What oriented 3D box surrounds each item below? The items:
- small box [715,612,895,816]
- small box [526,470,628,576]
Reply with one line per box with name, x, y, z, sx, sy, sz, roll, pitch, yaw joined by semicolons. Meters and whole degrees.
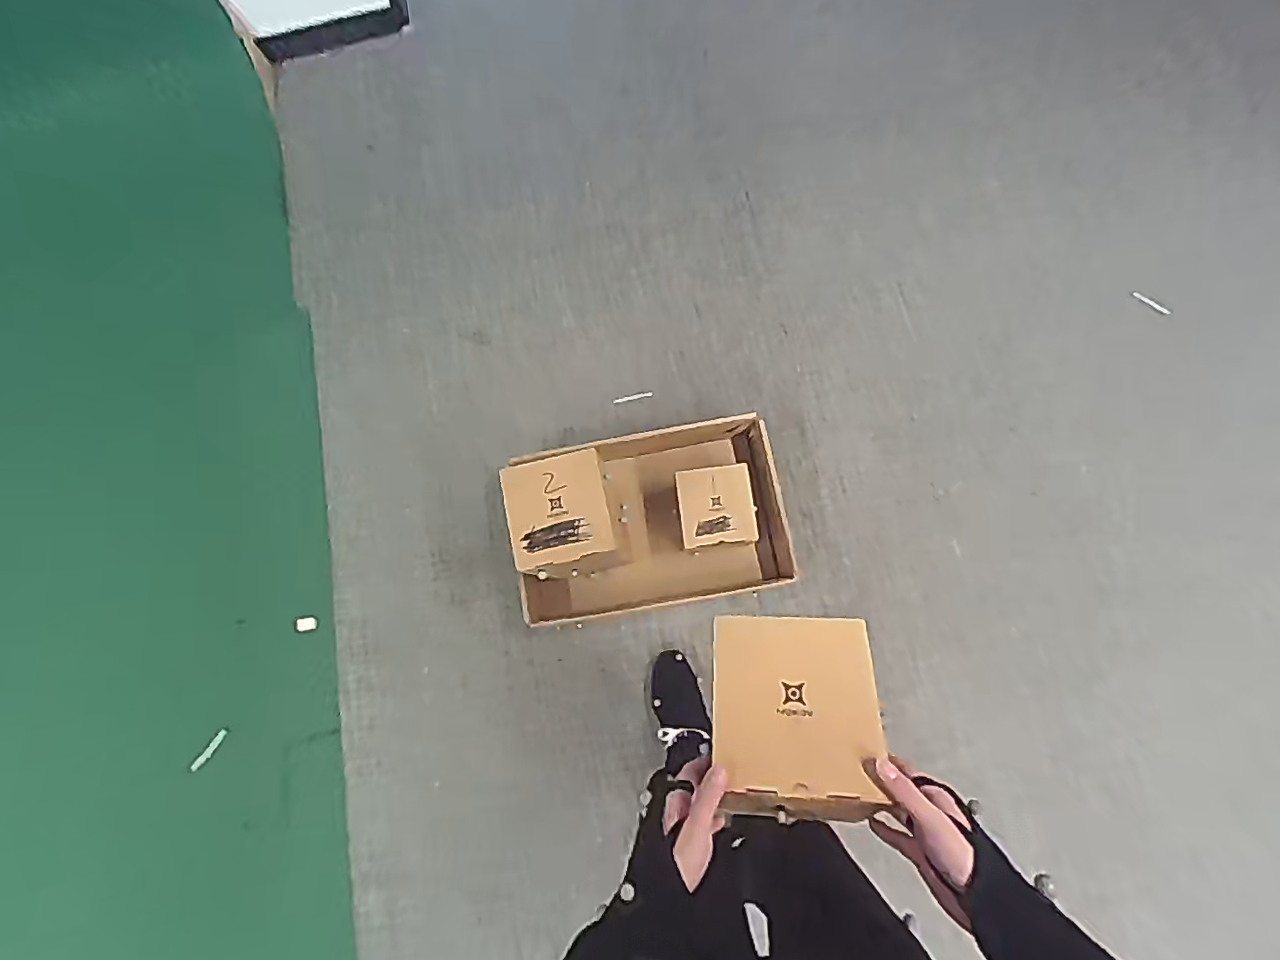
small box;0.170;0.268;0.615;0.168;0.176;0.179;0;55;9
small box;-0.124;0.095;1.116;0.168;0.176;0.179;-12;78;1
